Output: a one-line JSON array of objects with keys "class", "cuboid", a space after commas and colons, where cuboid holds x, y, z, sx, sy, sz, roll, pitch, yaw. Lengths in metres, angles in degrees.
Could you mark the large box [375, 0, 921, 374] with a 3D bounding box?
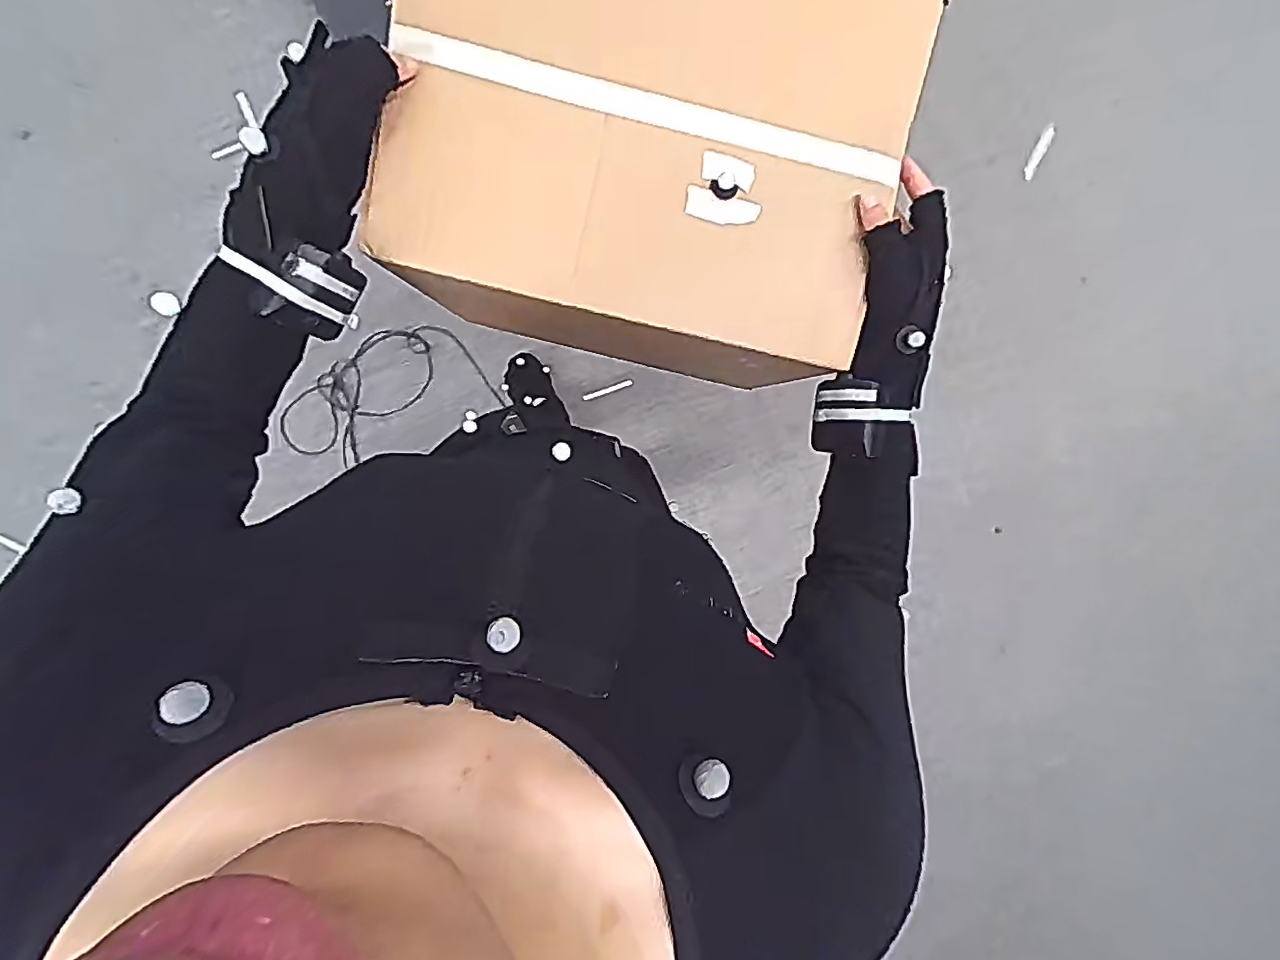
[{"class": "large box", "cuboid": [-0.002, -0.315, 0.580, 0.408, 0.320, 0.320, 11, 96, -5]}]
